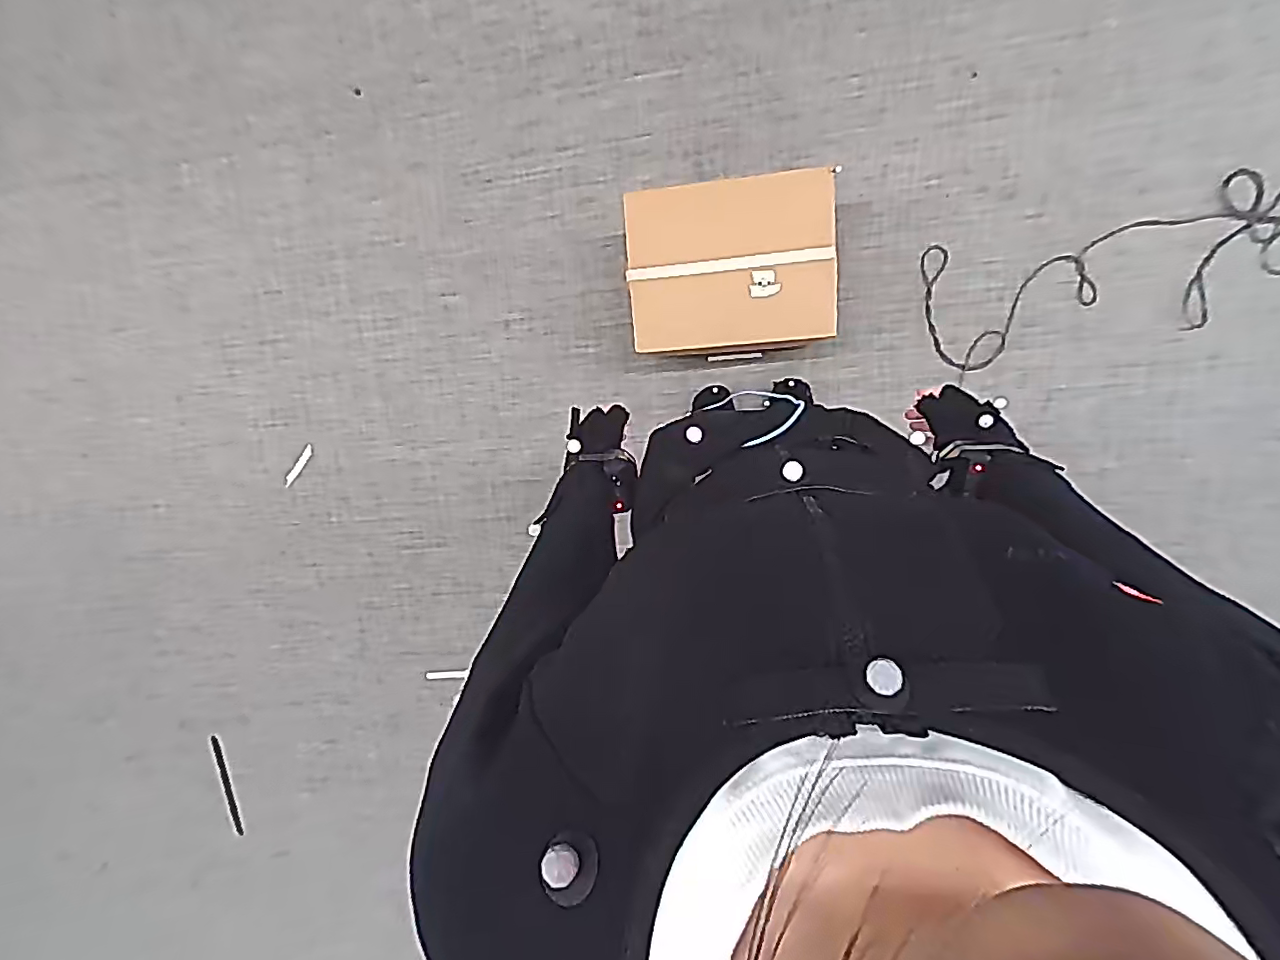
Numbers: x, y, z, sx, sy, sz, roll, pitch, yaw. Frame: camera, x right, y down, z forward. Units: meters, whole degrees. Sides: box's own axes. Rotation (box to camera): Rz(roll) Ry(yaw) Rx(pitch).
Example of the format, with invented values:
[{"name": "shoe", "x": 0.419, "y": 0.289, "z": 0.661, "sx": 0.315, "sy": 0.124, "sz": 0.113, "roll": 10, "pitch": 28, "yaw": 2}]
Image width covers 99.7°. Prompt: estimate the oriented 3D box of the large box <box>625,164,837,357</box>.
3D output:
[{"name": "large box", "x": 0.198, "y": -0.458, "z": 1.214, "sx": 0.408, "sy": 0.320, "sz": 0.320, "roll": -3, "pitch": 101, "yaw": 8}]
